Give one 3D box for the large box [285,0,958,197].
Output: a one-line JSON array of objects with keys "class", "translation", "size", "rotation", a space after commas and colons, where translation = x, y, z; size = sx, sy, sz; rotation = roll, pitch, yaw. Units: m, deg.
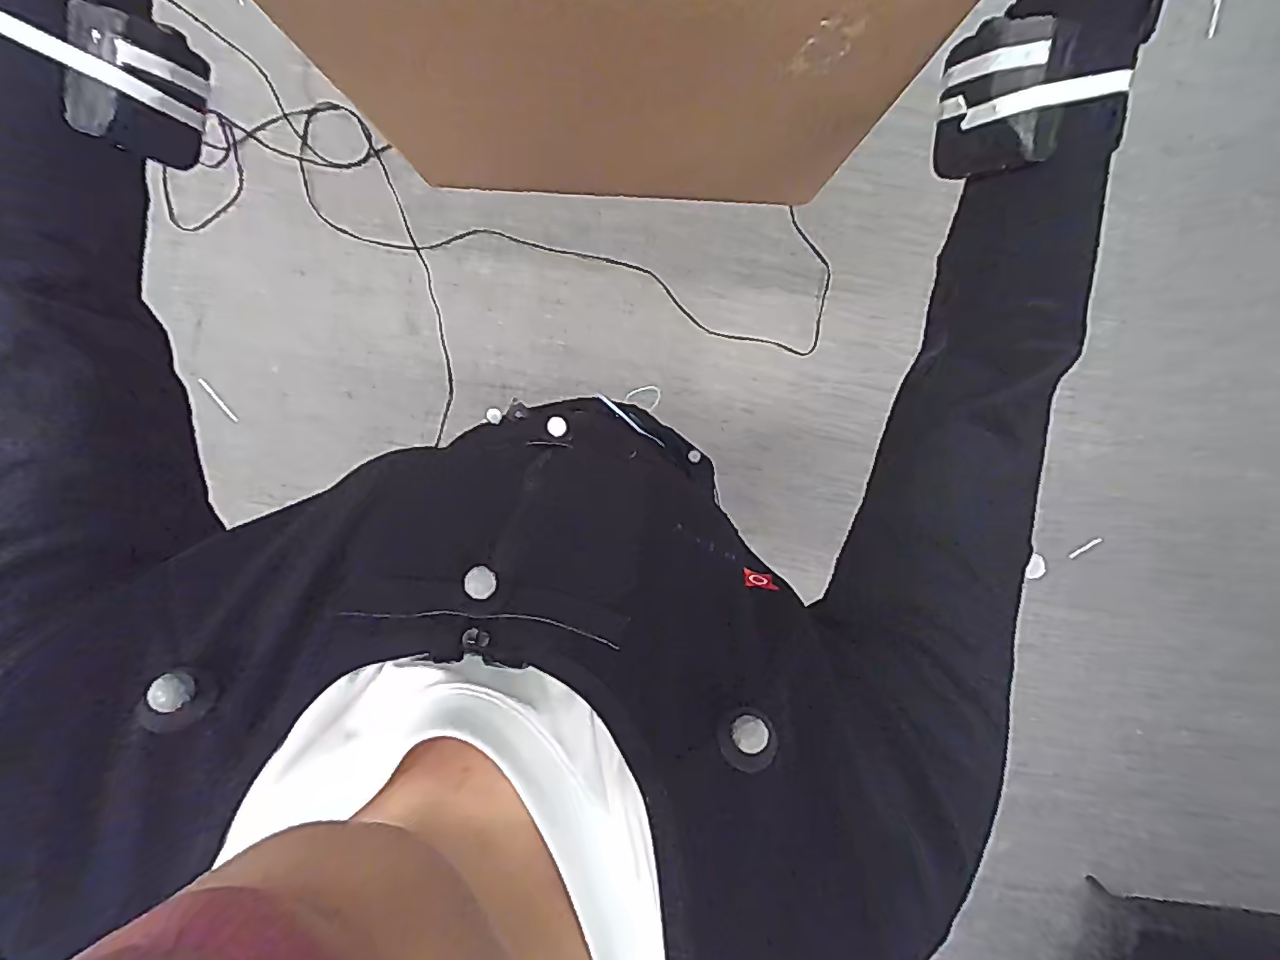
[{"class": "large box", "translation": [-0.014, -0.436, 0.407], "size": [0.408, 0.320, 0.320], "rotation": [2, 98, -2]}]
